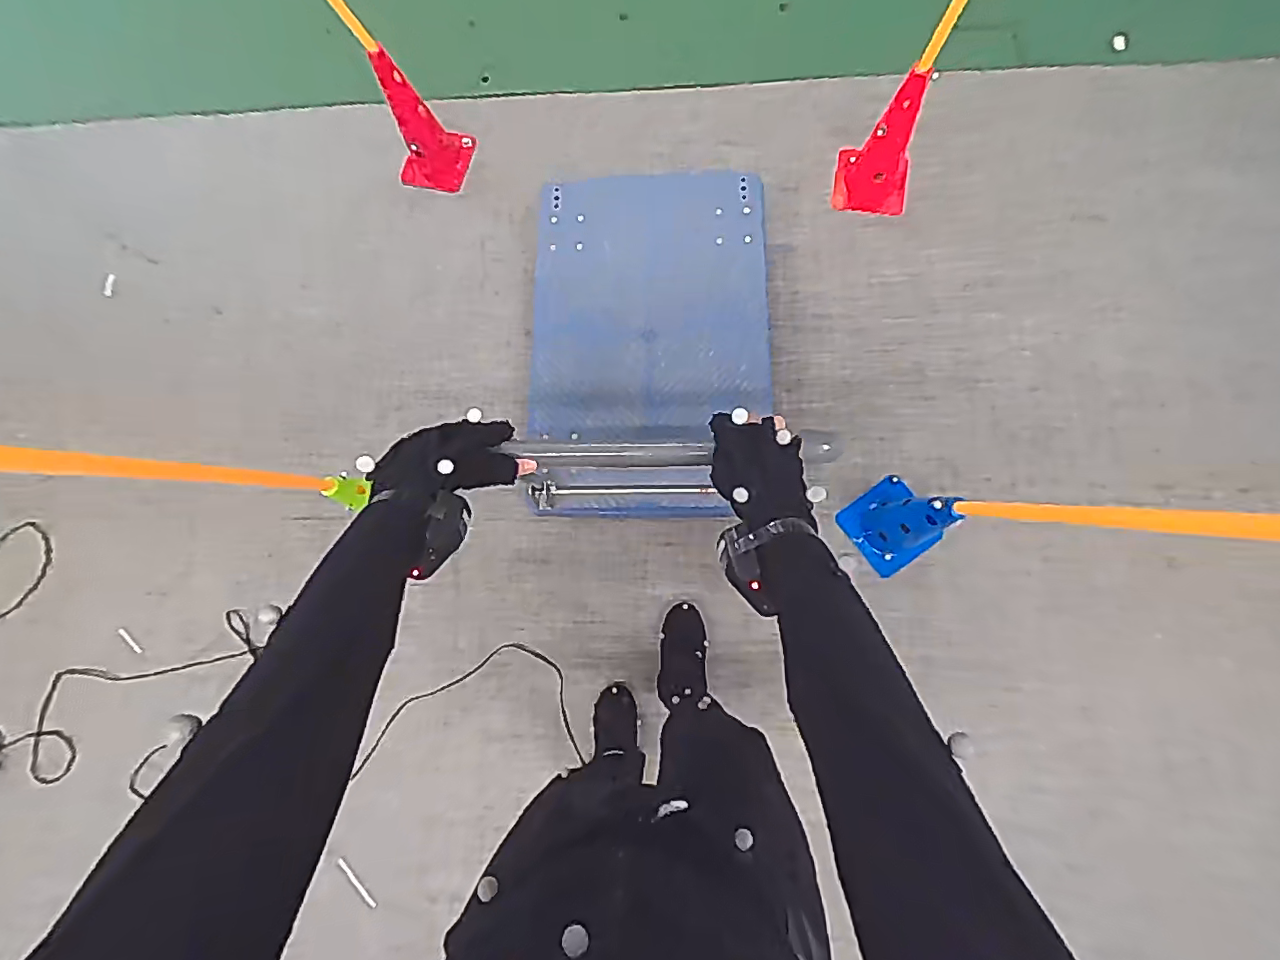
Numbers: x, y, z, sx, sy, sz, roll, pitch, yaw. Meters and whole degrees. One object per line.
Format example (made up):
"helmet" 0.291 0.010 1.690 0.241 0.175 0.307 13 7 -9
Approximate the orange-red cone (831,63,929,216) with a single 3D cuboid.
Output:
"orange-red cone" 0.642 -0.880 1.376 0.198 0.360 0.199 11 81 7
